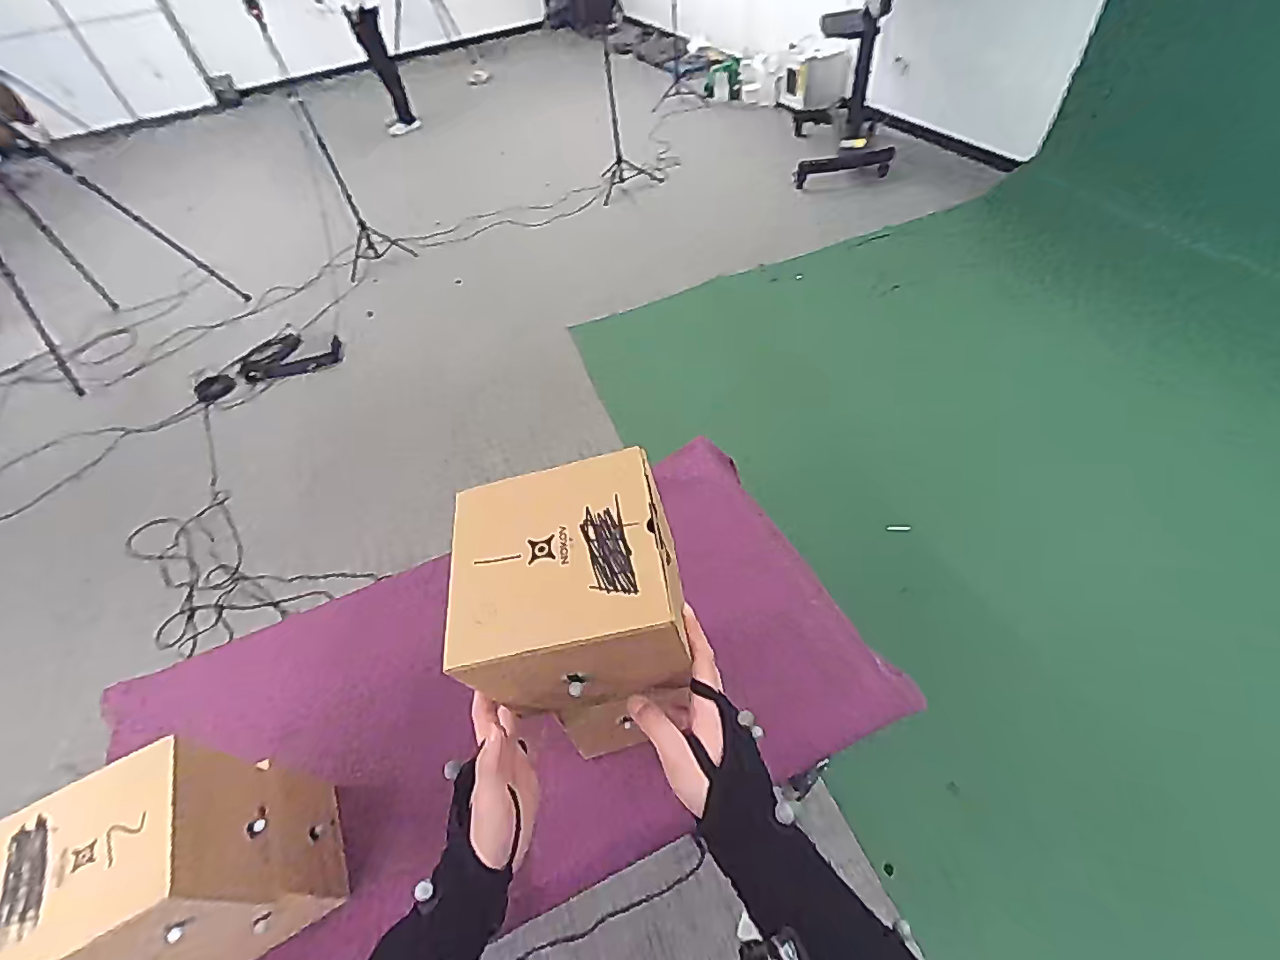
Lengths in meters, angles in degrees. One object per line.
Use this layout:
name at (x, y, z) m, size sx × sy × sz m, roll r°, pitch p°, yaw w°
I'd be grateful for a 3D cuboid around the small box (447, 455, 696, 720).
small box at (-0.049, 0.106, 0.492) m, size 0.179 × 0.176 × 0.168 m, roll -13°, pitch 54°, yaw 5°

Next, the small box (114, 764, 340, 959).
small box at (-0.519, 0.510, 0.706) m, size 0.179 × 0.176 × 0.168 m, roll -26°, pitch 51°, yaw -14°

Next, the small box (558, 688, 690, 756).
small box at (-0.030, 0.297, 0.822) m, size 0.179 × 0.176 × 0.168 m, roll -14°, pitch 50°, yaw -4°
